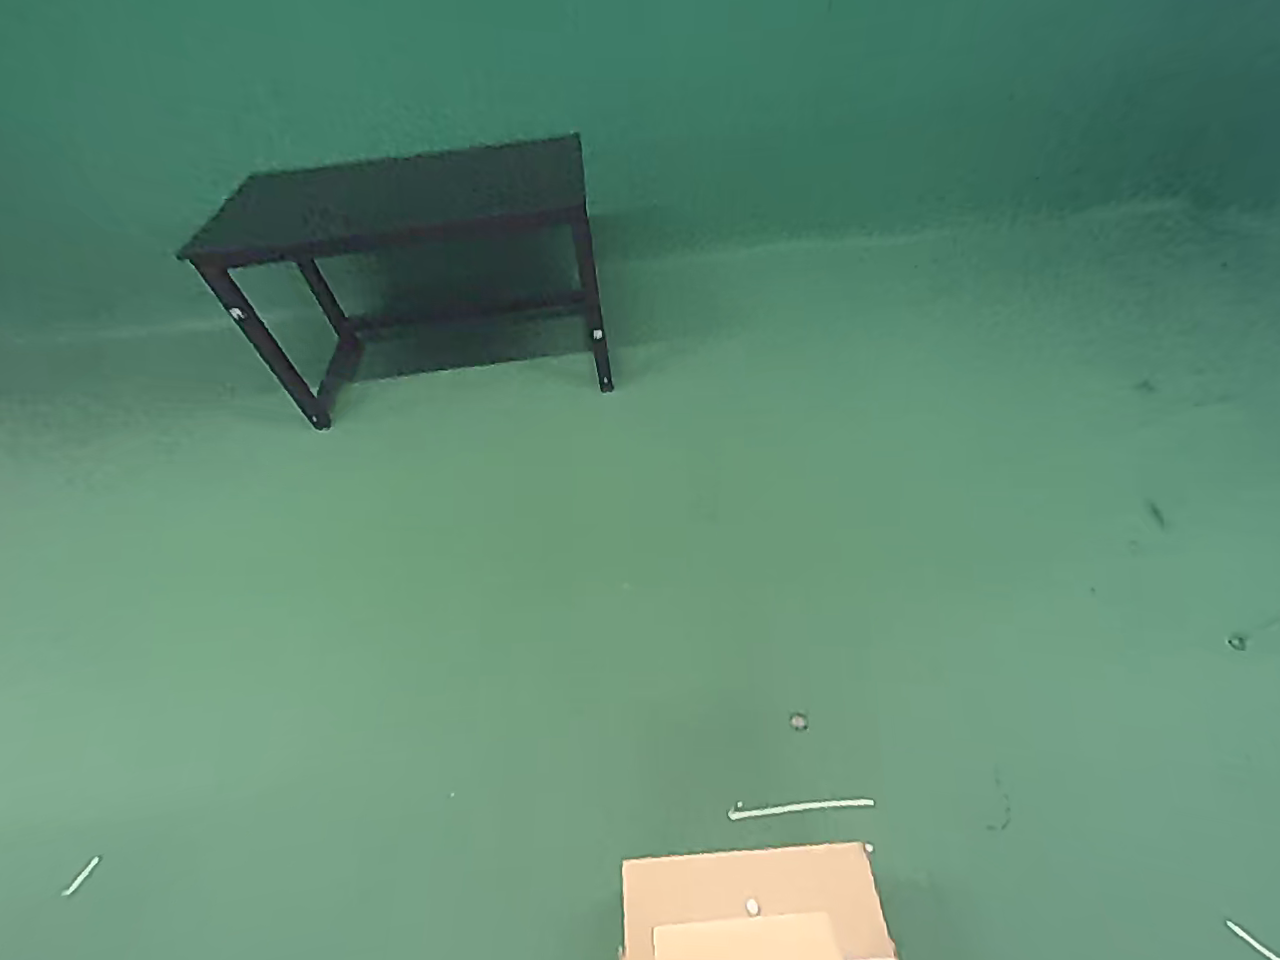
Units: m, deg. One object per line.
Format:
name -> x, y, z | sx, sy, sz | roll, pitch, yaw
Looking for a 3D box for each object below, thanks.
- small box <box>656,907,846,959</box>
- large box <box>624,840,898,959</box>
small box -> 0.101, 0.505, 0.487 | 0.168, 0.176, 0.179 | -5, 50, 0
large box -> 0.192, 0.825, 0.900 | 0.408, 0.320, 0.320 | -5, 49, 1
